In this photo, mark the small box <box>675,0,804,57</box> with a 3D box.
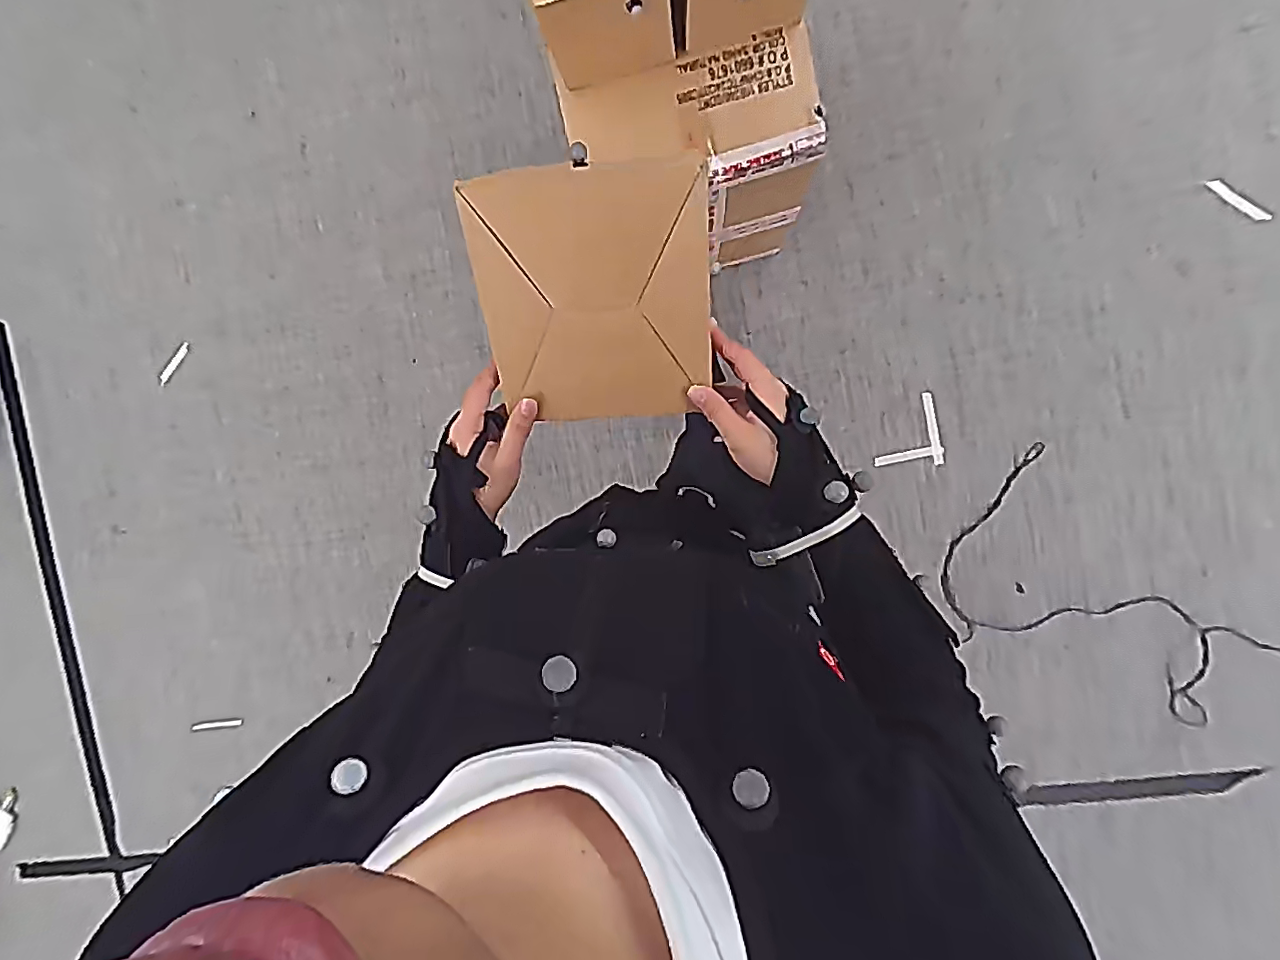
[{"bbox_3d":[0.134,-0.728,0.731,0.179,0.176,0.168,-11,94,6],"label":"small box"}]

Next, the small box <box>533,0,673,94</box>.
[{"bbox_3d":[-0.052,-0.688,0.753,0.179,0.176,0.168,-9,93,9],"label":"small box"}]
